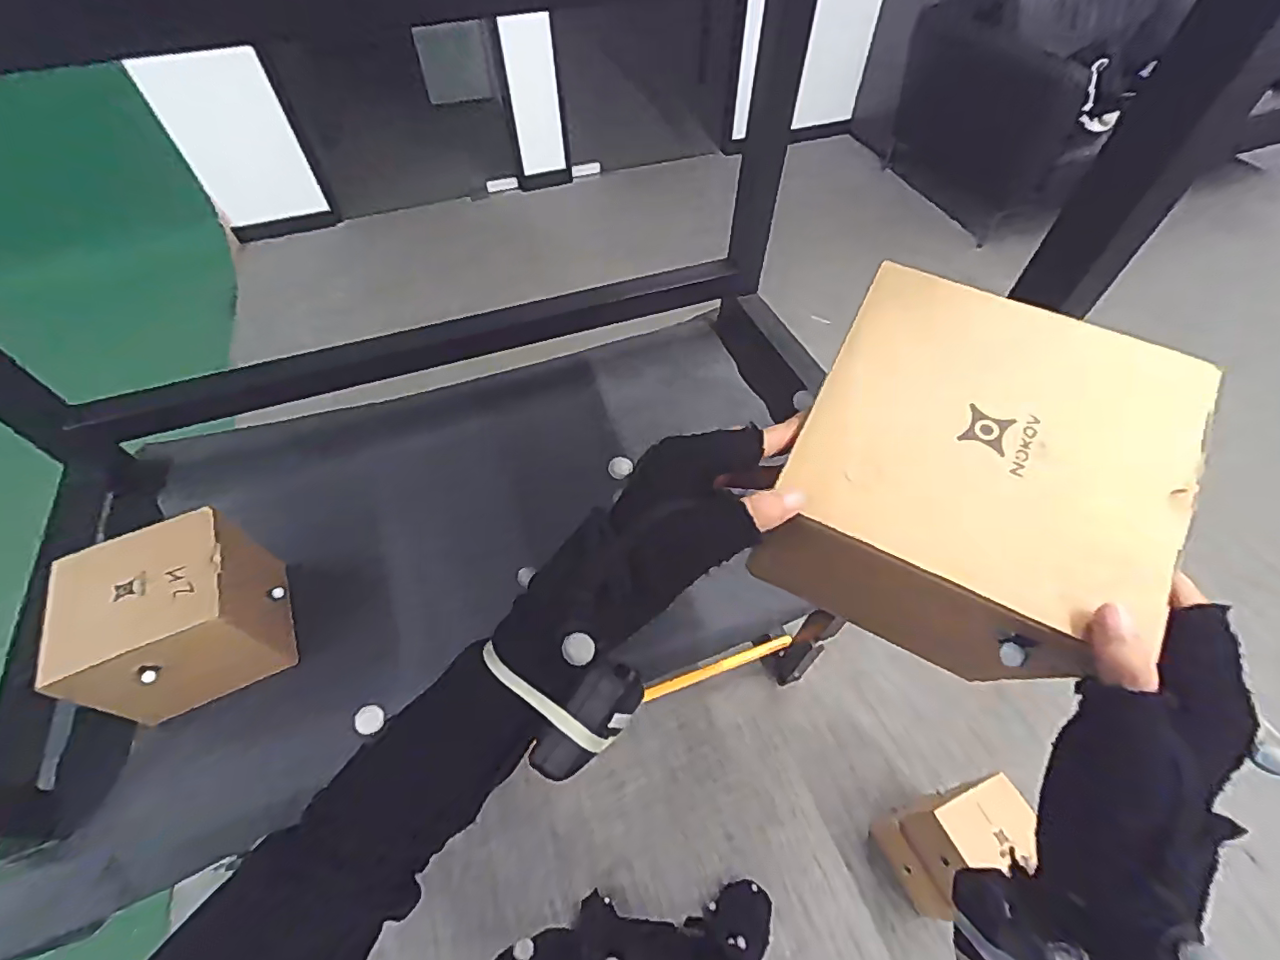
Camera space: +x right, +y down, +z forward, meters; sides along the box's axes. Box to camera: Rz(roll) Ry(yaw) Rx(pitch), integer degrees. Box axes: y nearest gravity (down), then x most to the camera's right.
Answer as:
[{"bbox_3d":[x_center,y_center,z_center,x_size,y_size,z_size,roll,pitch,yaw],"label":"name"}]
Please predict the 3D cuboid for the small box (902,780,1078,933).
[{"bbox_3d":[0.625,0.683,0.990,0.168,0.176,0.179,-19,55,-13],"label":"small box"}]

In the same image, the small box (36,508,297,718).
[{"bbox_3d":[-0.570,0.171,0.677,0.179,0.176,0.168,-22,57,-15],"label":"small box"}]
